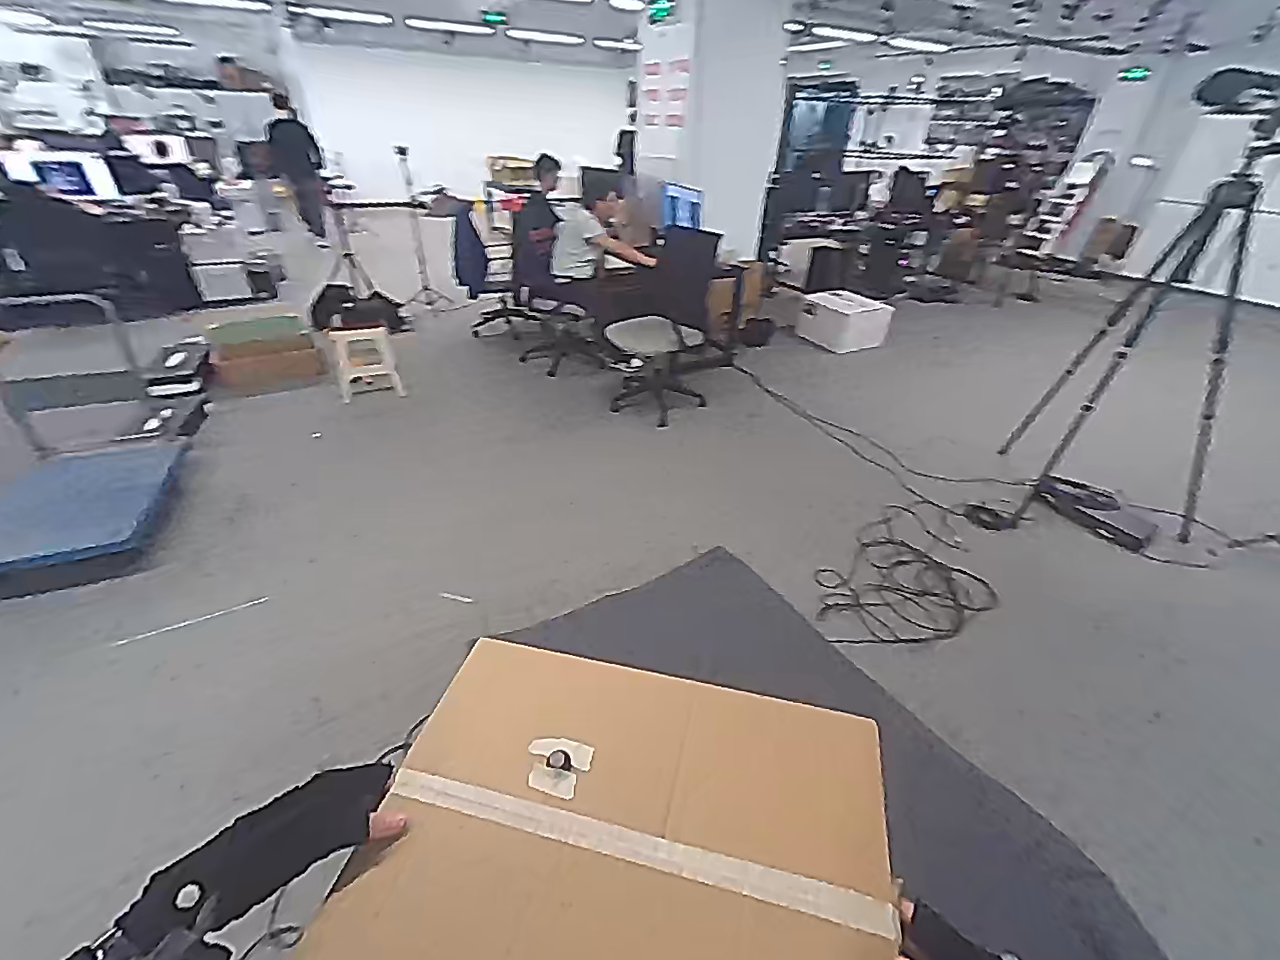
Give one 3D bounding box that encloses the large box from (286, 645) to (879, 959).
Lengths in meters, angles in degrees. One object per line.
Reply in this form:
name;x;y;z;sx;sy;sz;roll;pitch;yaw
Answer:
large box;-0.017;0.401;0.508;0.408;0.320;0.320;6;38;14
